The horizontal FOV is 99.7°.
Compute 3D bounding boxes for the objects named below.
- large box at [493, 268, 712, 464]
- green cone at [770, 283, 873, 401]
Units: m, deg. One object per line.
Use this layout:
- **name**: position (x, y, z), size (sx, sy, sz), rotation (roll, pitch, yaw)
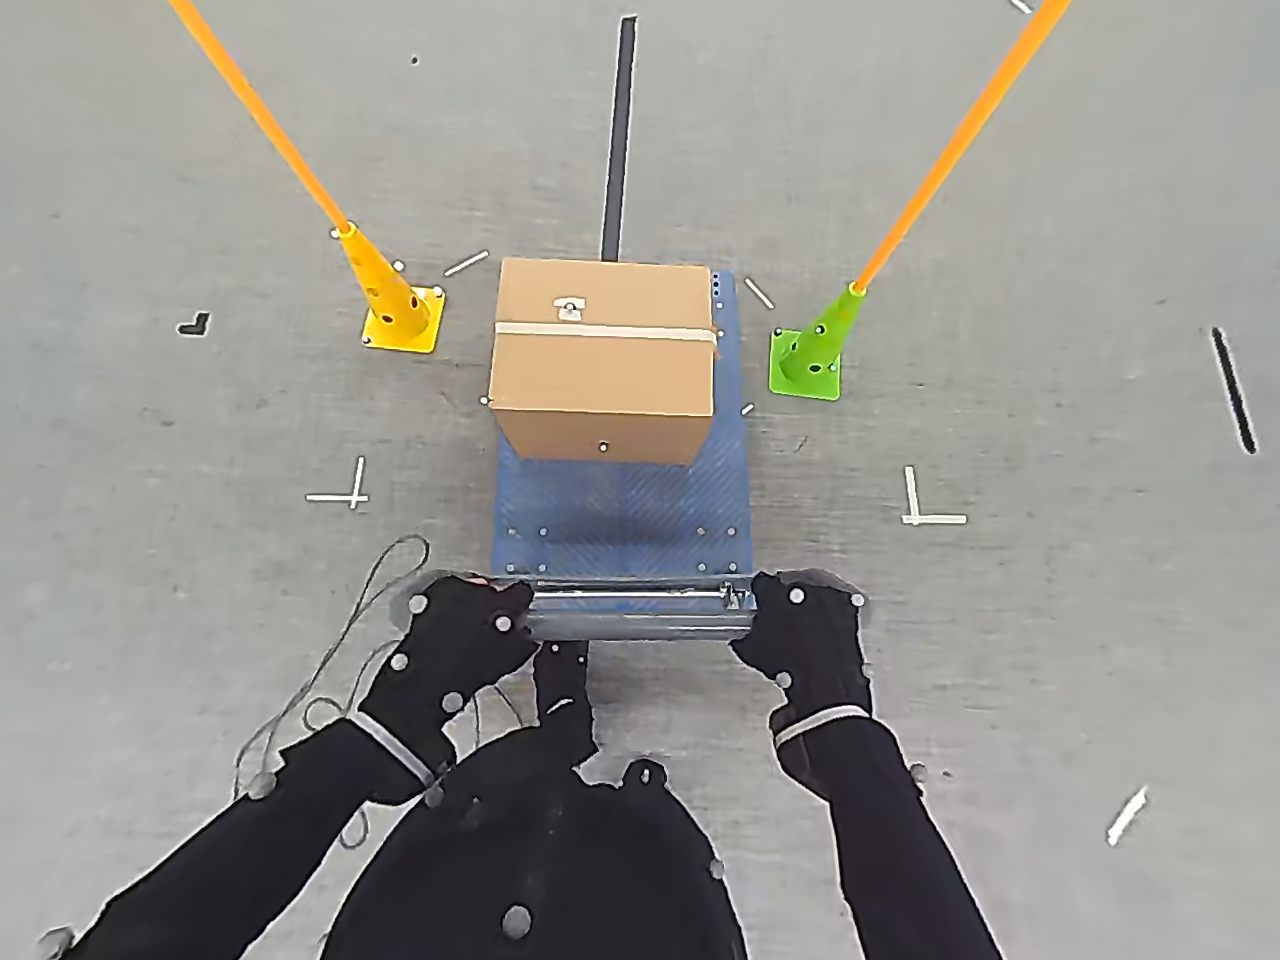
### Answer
- **large box**: position (-0.066, -0.222, 1.157), size (0.408, 0.320, 0.320), rotation (2, 75, -1)
- **green cone**: position (0.482, -0.370, 1.368), size (0.202, 0.368, 0.200), rotation (8, 75, -2)
